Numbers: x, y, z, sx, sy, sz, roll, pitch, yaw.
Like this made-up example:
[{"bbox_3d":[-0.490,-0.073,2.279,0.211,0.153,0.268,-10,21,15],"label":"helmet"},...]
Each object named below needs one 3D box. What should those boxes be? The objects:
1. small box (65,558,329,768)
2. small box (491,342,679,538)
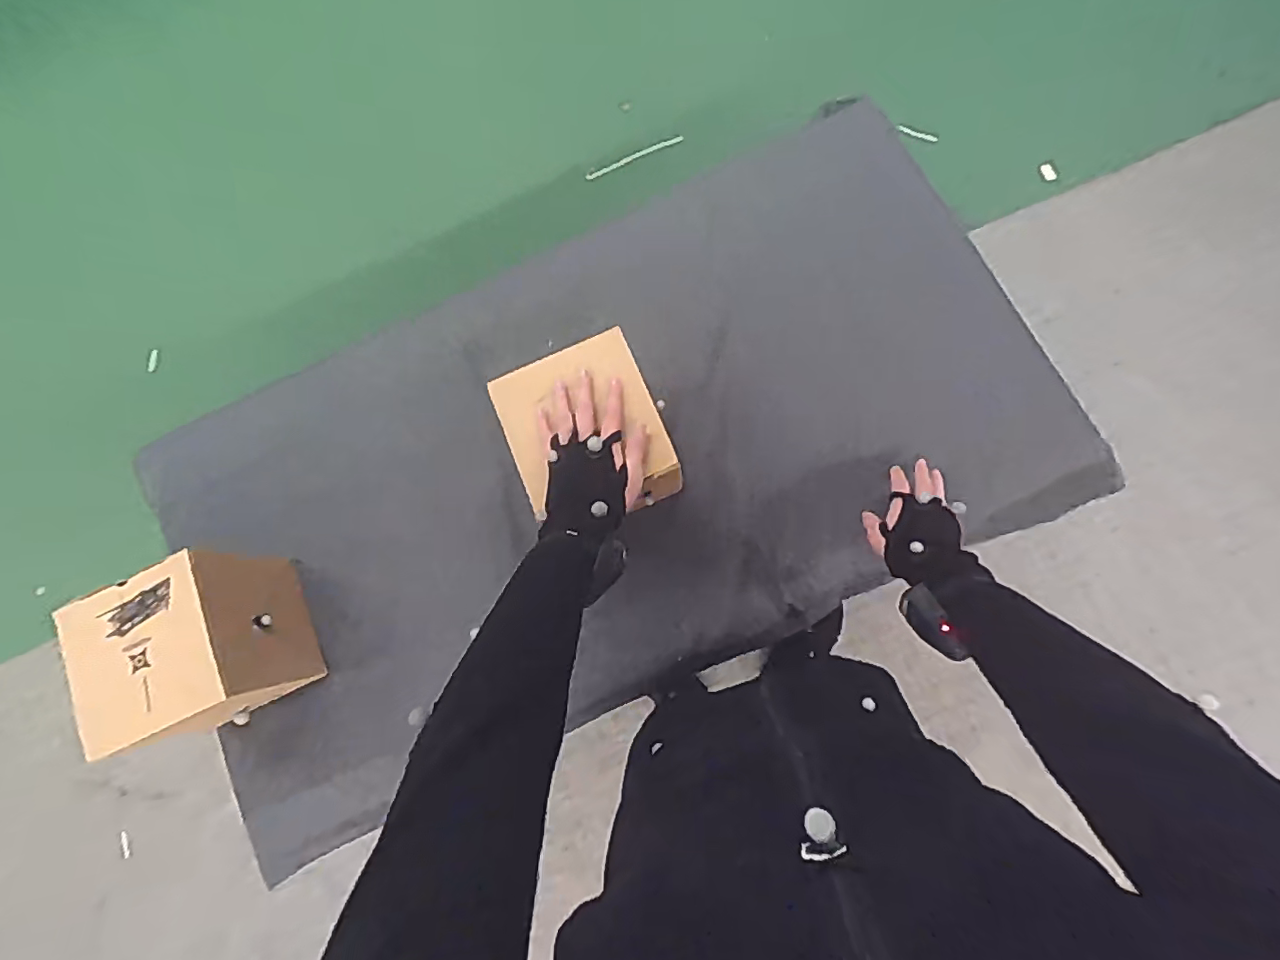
[{"bbox_3d":[-0.527,0.212,0.666,0.168,0.176,0.179,-25,79,0],"label":"small box"},{"bbox_3d":[-0.056,-0.035,0.676,0.168,0.176,0.179,-24,78,-1],"label":"small box"}]
